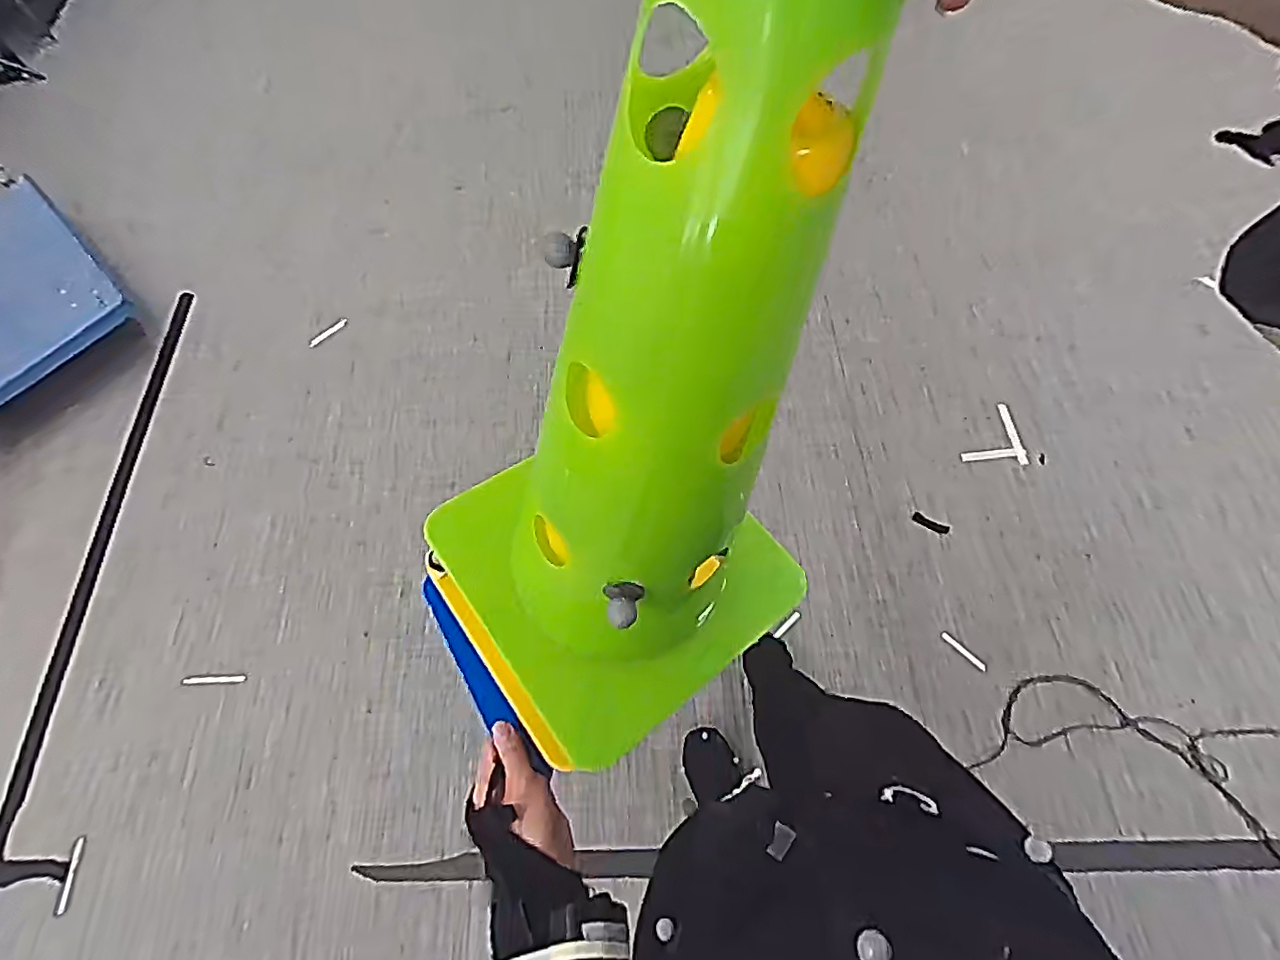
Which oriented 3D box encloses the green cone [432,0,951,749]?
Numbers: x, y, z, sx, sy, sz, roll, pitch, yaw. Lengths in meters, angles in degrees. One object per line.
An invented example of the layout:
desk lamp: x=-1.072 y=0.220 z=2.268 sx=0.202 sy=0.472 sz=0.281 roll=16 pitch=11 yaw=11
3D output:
green cone: x=0.016 y=-0.052 z=0.222 sx=0.200 sy=0.368 sz=0.202 roll=-31 pitch=68 yaw=-26
